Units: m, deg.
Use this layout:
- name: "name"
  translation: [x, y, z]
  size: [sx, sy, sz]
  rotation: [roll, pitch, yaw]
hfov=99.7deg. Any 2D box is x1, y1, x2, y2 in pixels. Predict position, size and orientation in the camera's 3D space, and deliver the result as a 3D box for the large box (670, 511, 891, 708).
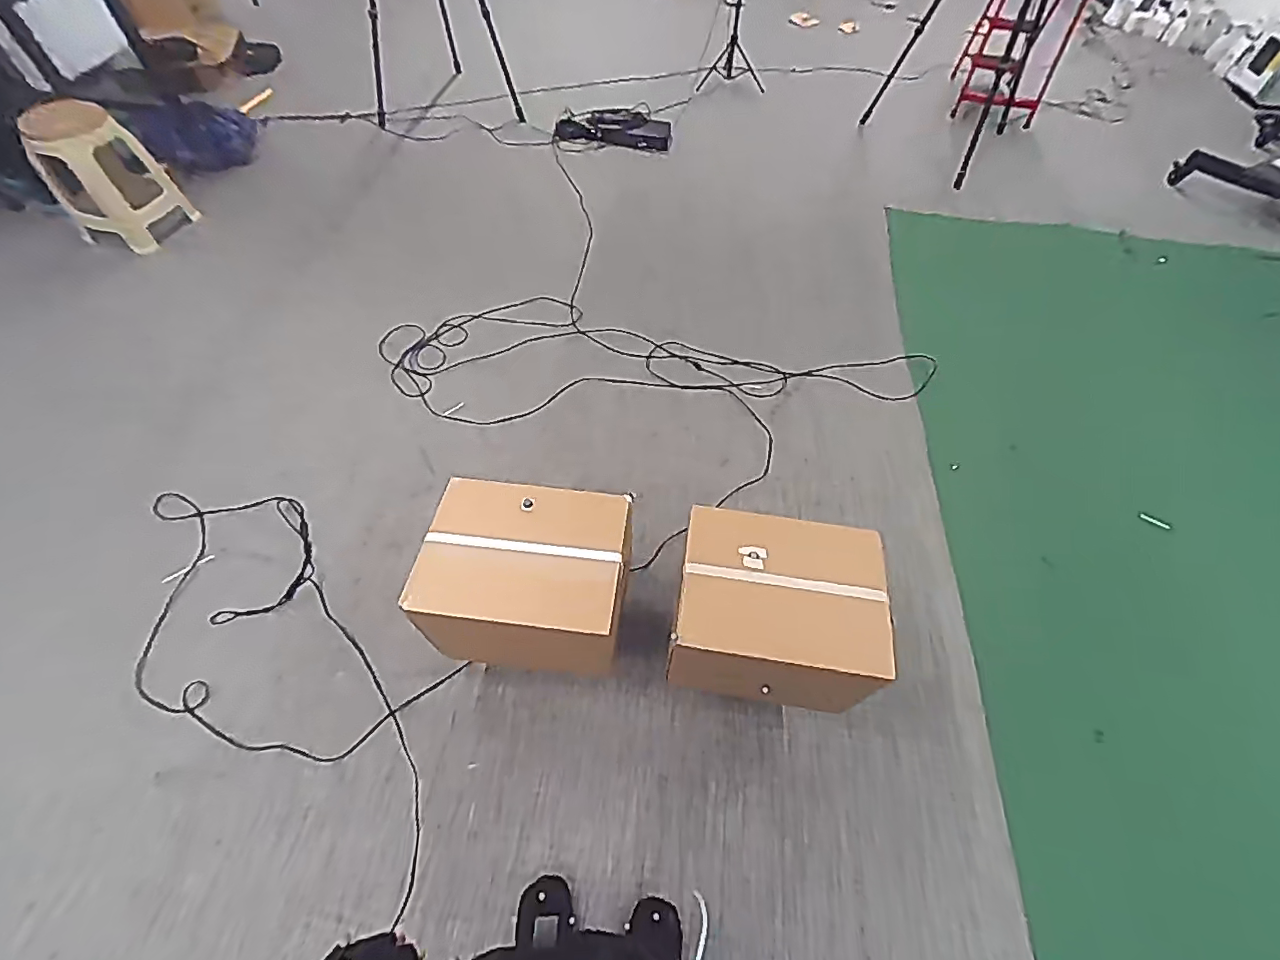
- name: "large box"
  translation: [0.290, 0.298, 1.214]
  size: [0.408, 0.320, 0.320]
  rotation: [8, 56, 5]
